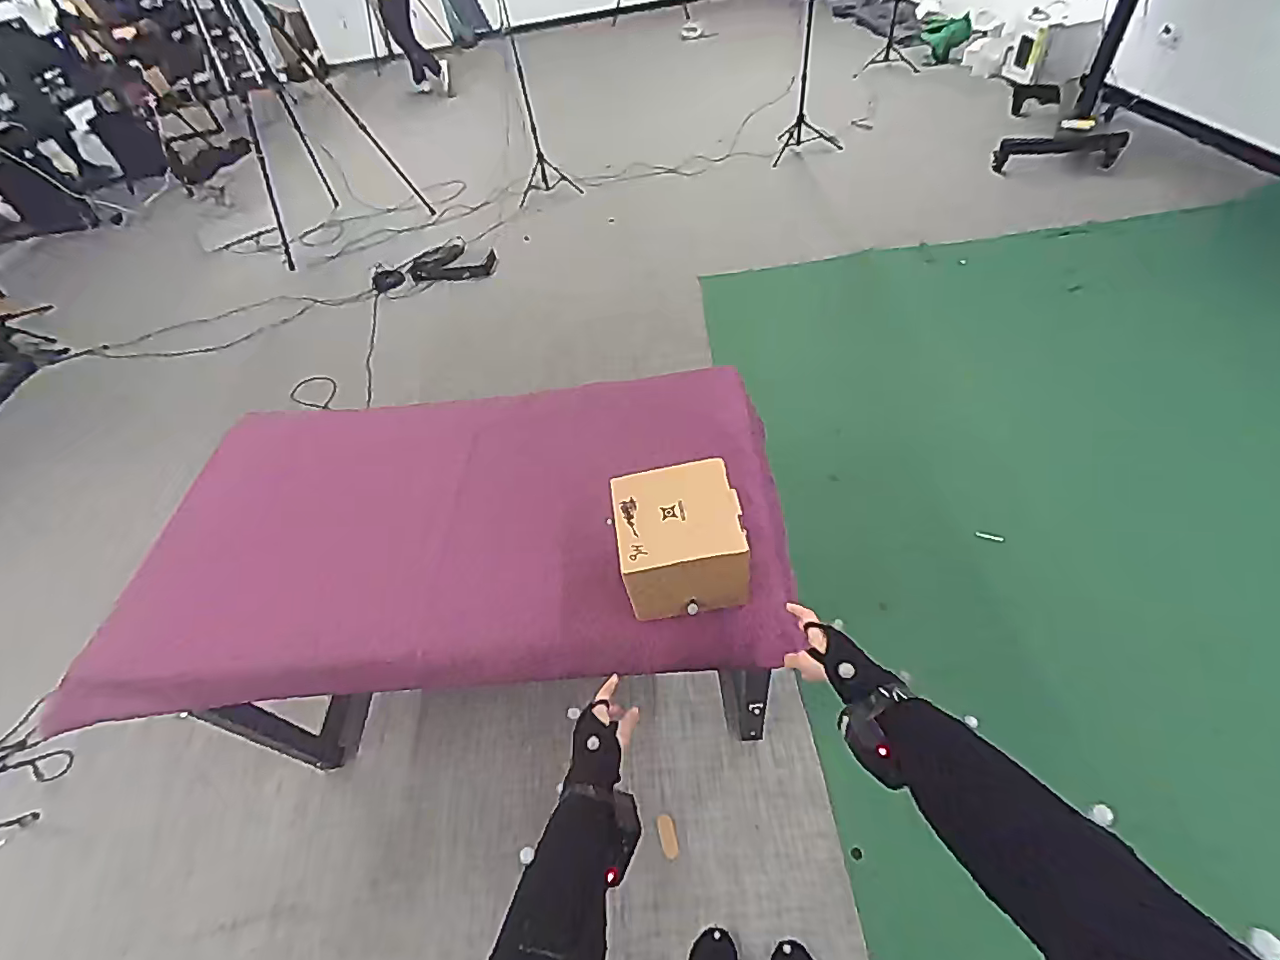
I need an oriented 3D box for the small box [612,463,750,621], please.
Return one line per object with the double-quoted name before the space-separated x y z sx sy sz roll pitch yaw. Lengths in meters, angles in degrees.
"small box" 0.061 0.099 0.824 0.179 0.176 0.168 -10 53 2
